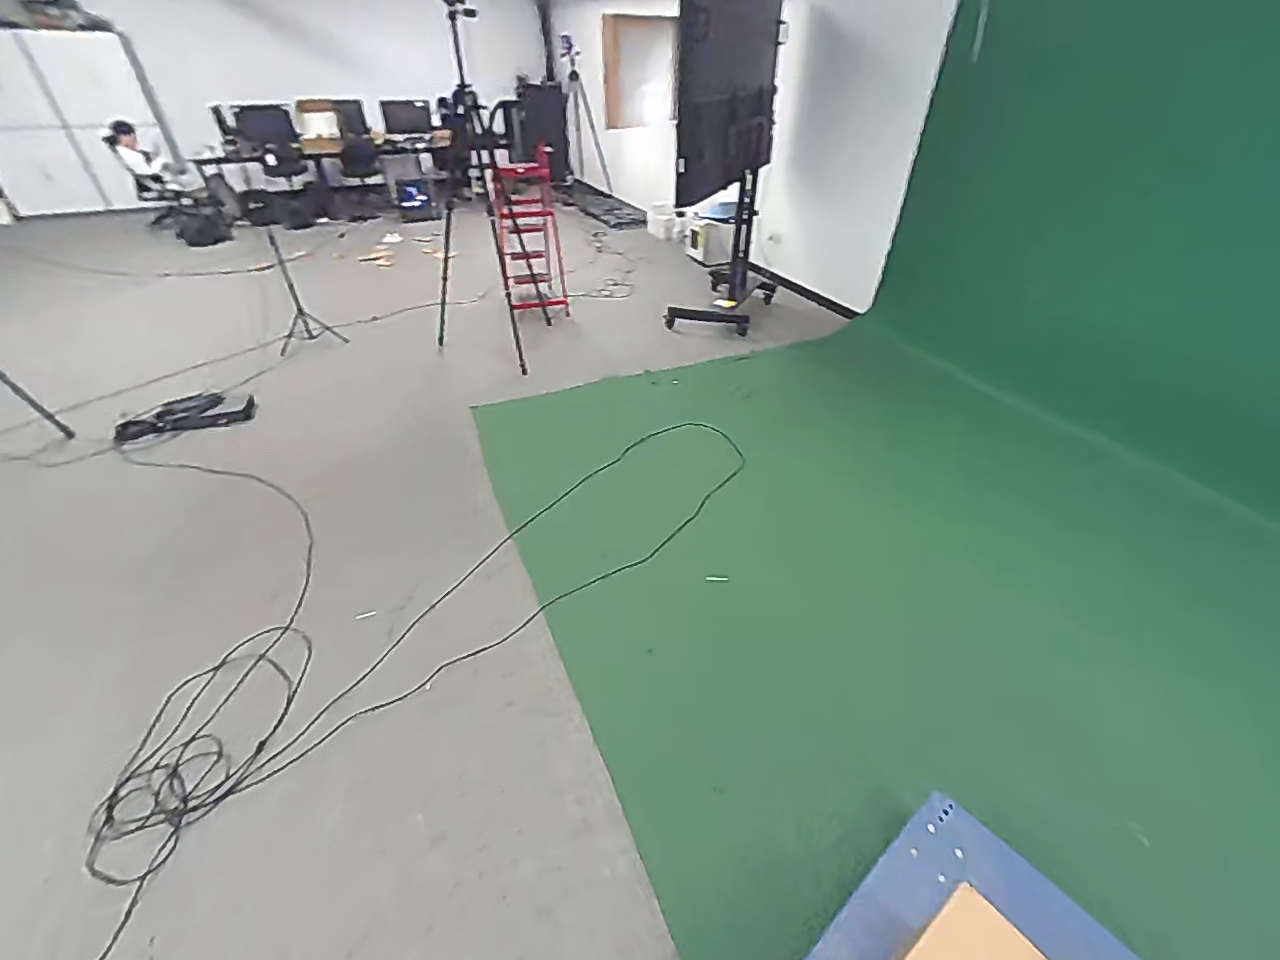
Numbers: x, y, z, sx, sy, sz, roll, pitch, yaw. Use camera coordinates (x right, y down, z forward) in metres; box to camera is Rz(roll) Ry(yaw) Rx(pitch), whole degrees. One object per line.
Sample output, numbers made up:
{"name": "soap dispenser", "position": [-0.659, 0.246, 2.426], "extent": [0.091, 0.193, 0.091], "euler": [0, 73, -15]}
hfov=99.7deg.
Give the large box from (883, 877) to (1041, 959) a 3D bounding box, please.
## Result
{"name": "large box", "position": [0.515, 0.998, 0.897], "extent": [0.408, 0.320, 0.320], "euler": [-24, 44, -28]}
